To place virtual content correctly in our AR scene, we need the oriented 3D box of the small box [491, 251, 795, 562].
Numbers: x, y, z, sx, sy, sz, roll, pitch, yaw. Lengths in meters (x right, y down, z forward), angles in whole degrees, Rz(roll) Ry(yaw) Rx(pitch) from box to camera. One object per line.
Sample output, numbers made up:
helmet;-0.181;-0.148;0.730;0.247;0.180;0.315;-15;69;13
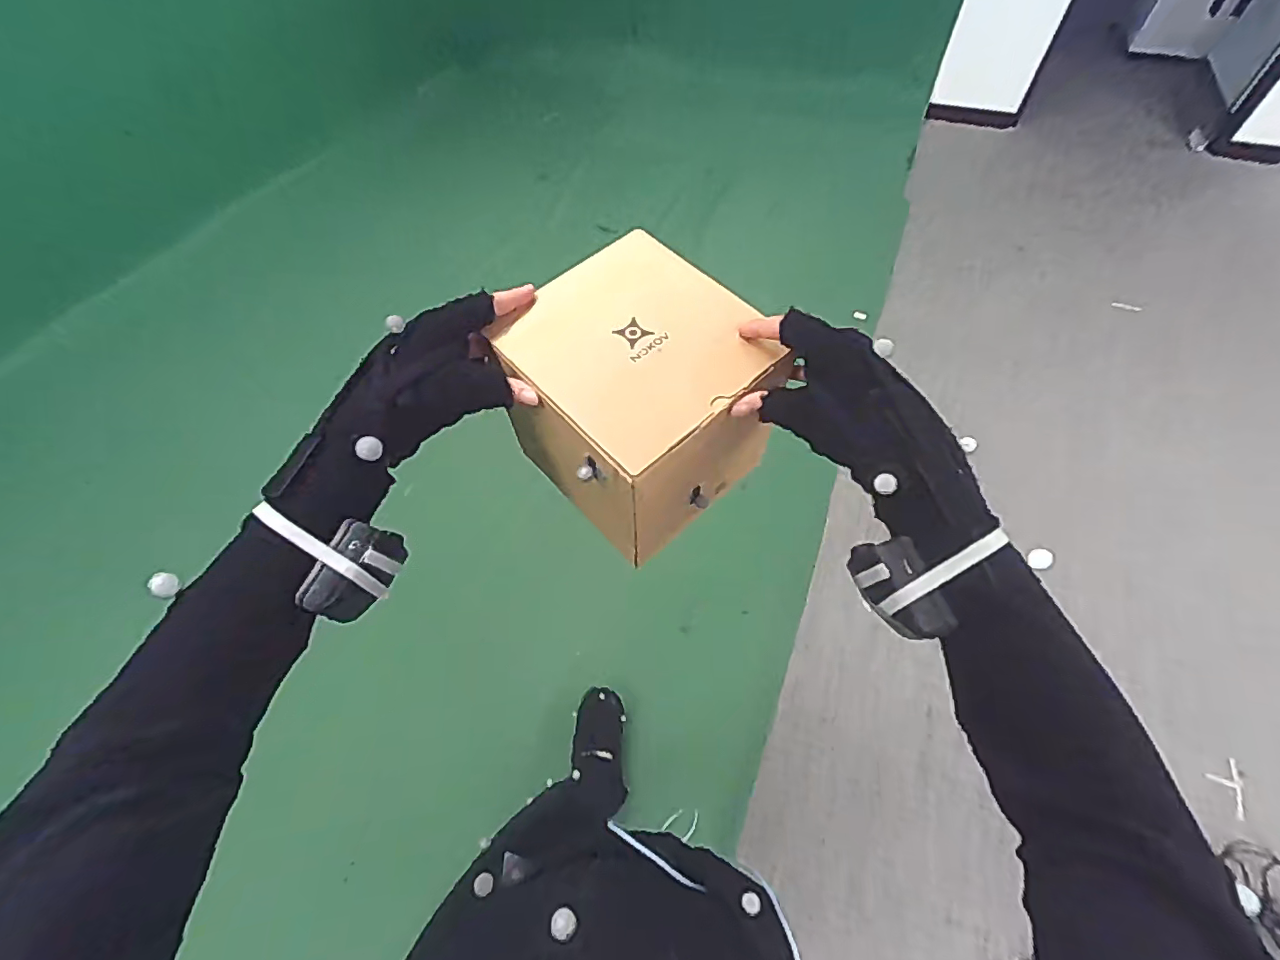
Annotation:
small box;0.000;-0.058;0.478;0.168;0.176;0.179;-39;68;-19
